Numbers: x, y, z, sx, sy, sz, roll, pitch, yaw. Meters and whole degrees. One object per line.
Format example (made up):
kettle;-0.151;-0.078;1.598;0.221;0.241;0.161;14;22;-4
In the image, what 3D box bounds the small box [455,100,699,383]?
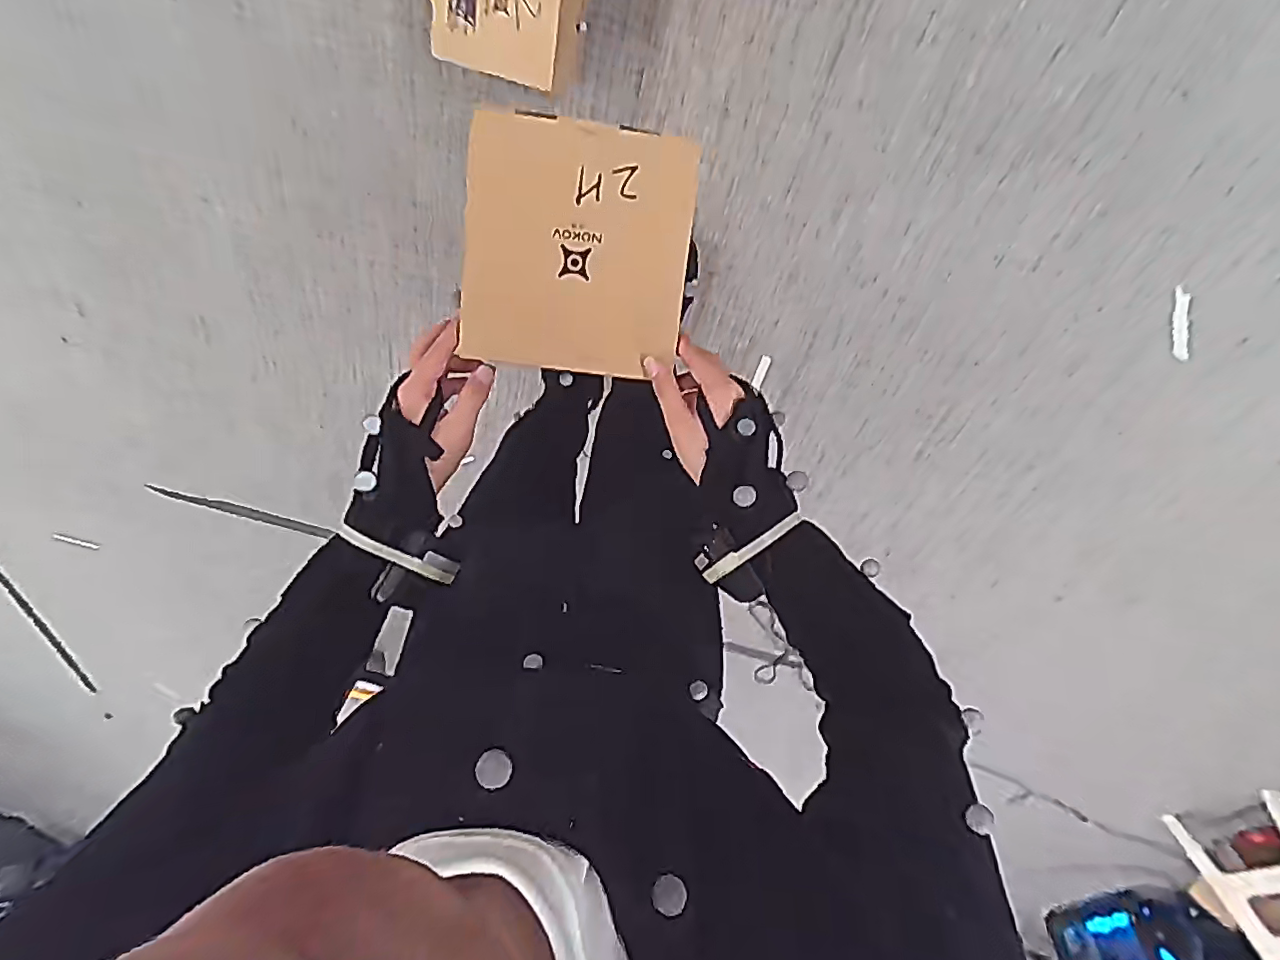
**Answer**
small box;-0.053;-0.185;0.471;0.168;0.176;0.179;6;102;-6
